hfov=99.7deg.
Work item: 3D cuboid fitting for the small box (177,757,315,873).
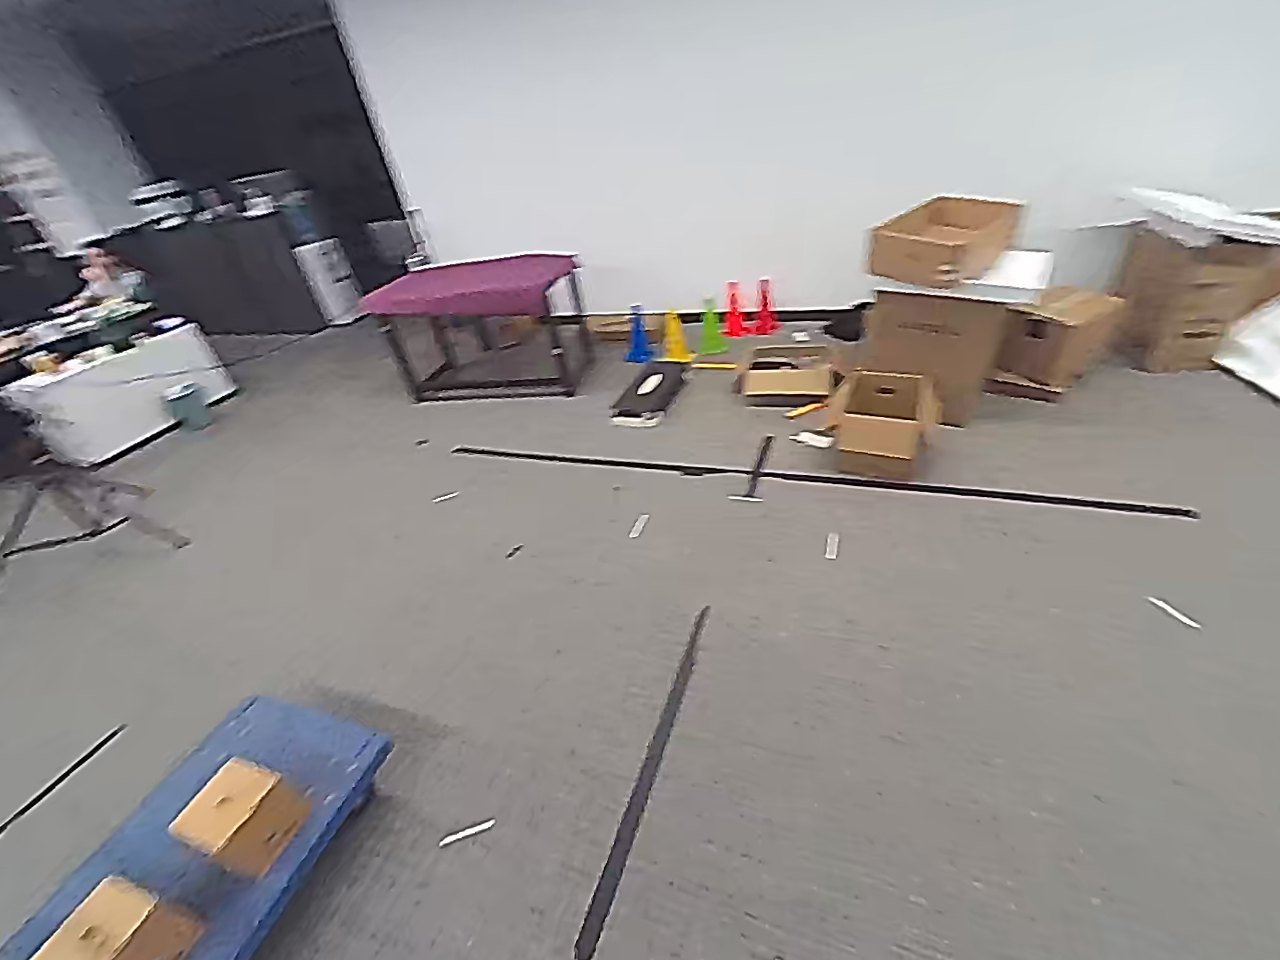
[{"bbox_3d":[-0.947,0.813,1.313,0.179,0.176,0.168,5,38,21],"label":"small box"}]

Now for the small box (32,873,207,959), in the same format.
[{"bbox_3d":[-1.074,0.969,1.127,0.179,0.176,0.168,5,39,20],"label":"small box"}]
